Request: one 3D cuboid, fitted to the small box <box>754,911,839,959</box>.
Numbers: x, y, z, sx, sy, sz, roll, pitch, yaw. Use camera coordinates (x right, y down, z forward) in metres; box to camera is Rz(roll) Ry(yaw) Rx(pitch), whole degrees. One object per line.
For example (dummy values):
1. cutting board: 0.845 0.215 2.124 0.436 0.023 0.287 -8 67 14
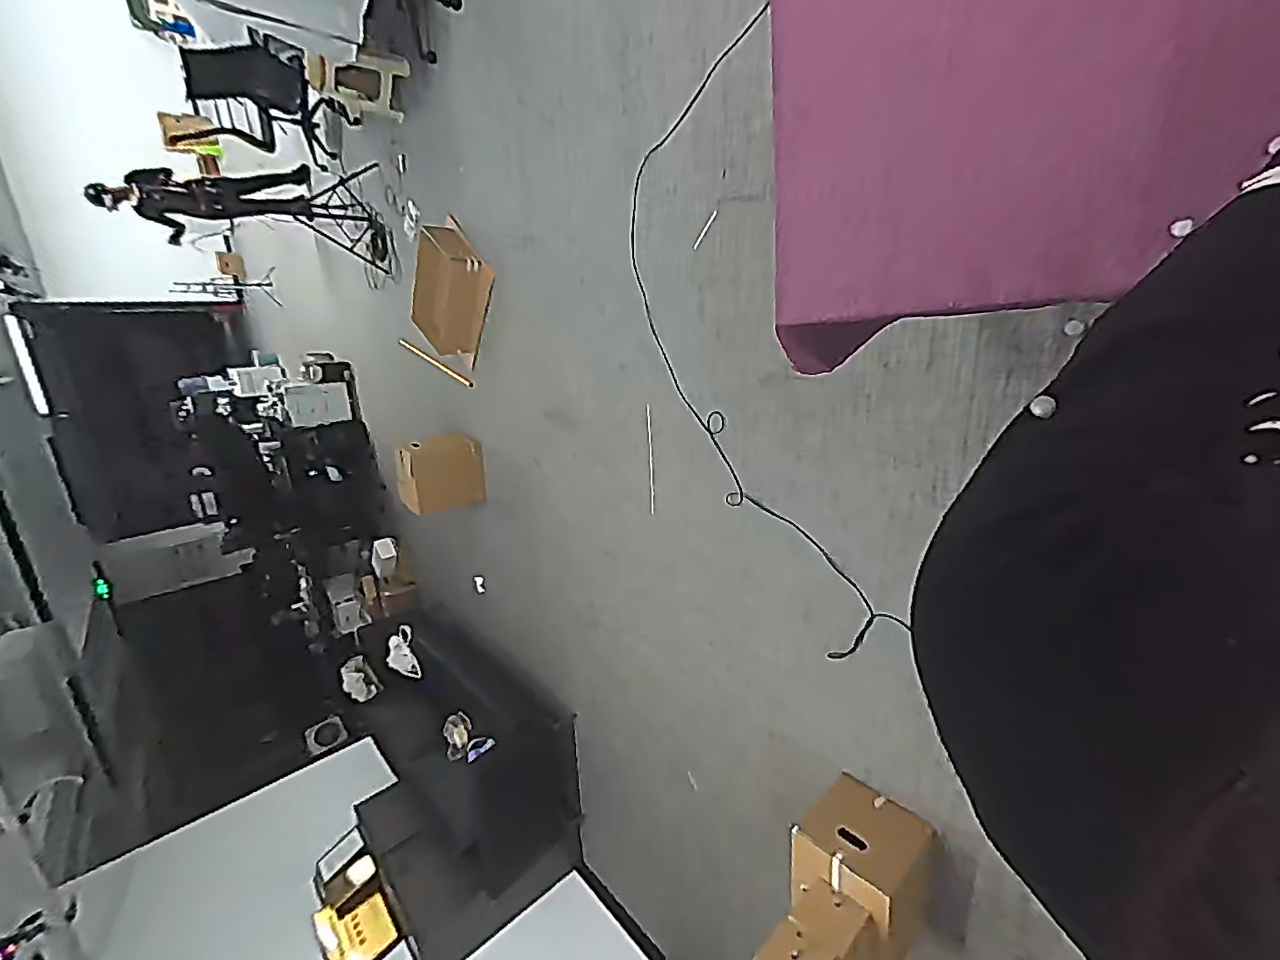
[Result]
1. small box: 0.432 1.345 1.472 0.168 0.176 0.179 2 104 48
